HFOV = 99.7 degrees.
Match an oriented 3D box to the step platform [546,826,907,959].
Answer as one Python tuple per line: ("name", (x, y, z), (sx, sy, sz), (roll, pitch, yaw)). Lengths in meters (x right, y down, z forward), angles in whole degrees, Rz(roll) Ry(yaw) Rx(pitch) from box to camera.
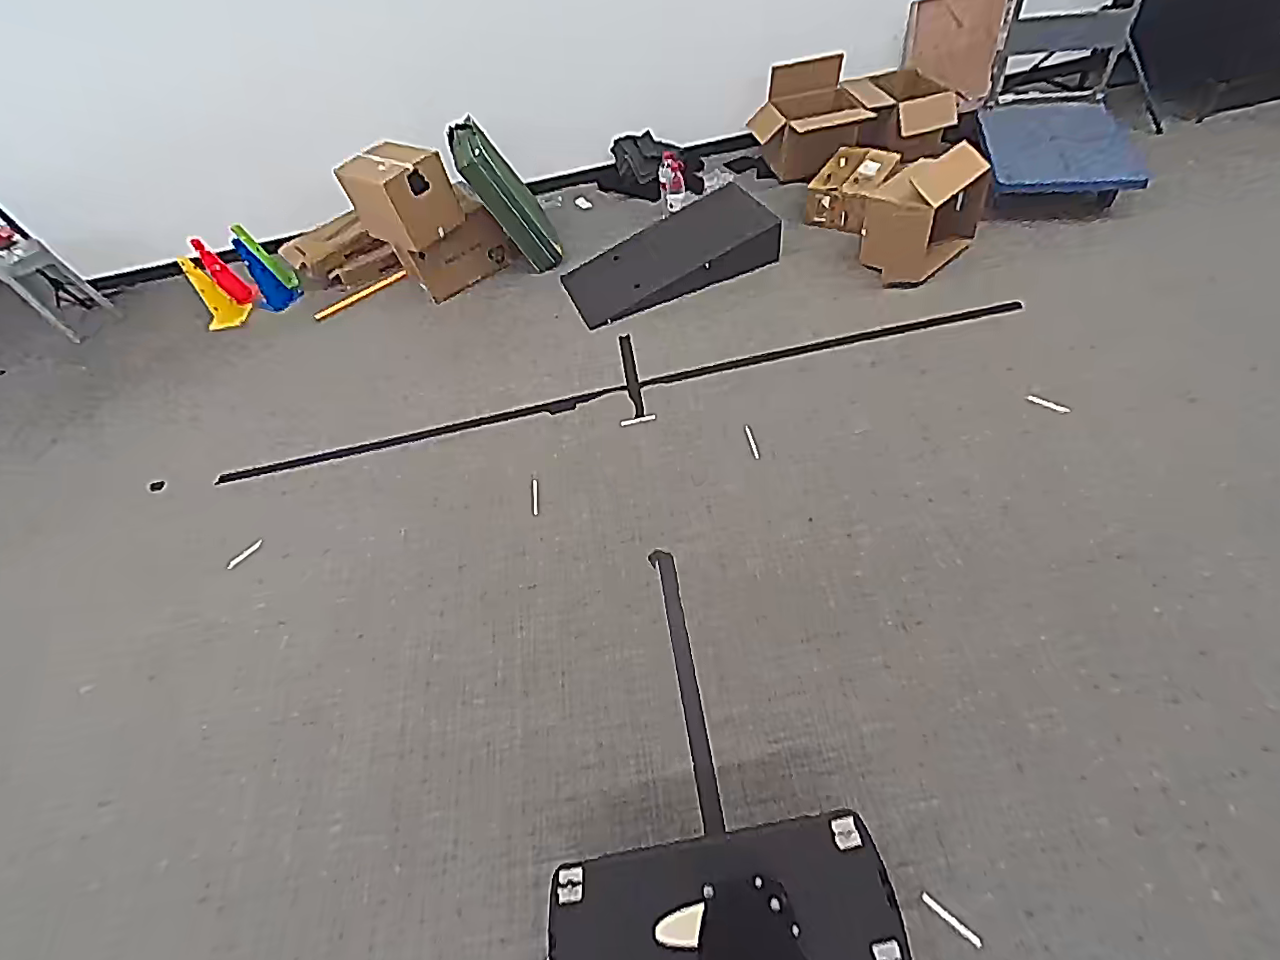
("step platform", (0.158, 0.916, 1.076), (0.684, 0.204, 0.286), (-12, 52, 0))
